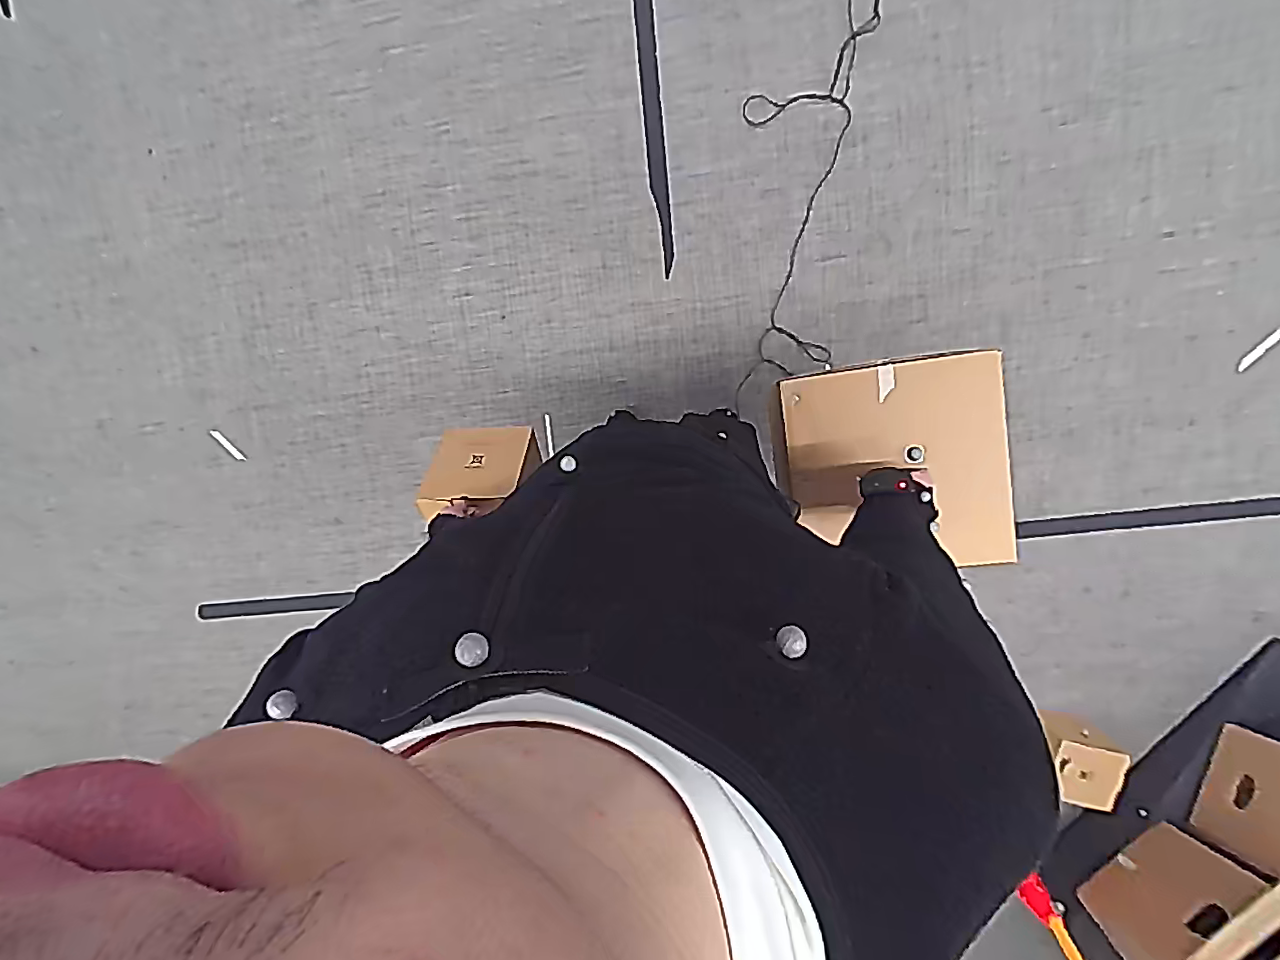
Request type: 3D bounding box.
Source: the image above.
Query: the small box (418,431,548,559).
[{"bbox_3d":[-0.272,0.031,0.988,0.168,0.179,0.176,-1,136,4],"label":"small box"}]
